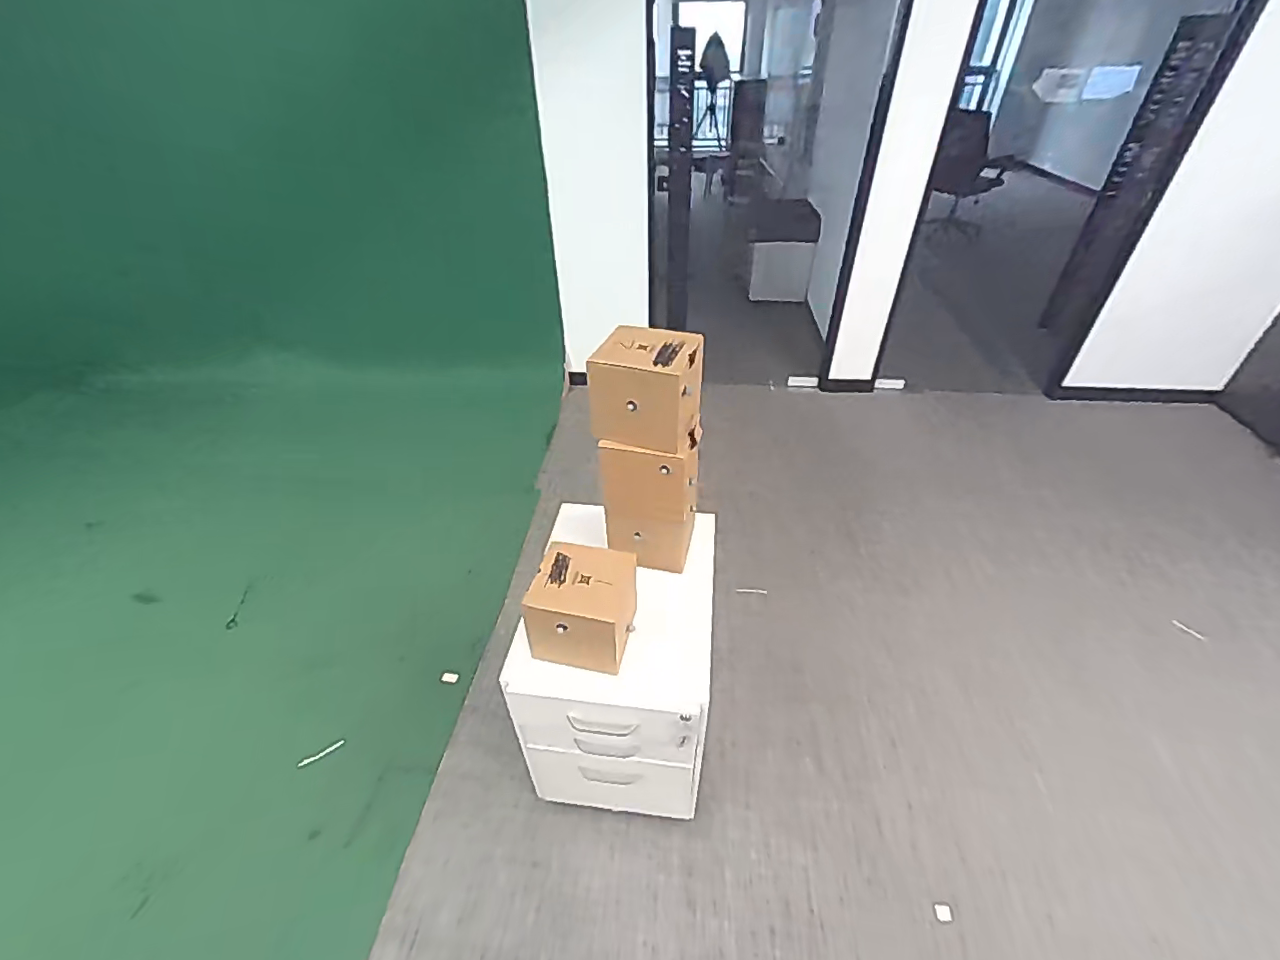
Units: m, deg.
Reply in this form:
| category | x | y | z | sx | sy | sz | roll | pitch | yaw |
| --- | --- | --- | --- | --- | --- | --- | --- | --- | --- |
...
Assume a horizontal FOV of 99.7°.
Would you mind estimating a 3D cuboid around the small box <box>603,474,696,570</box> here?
| category | x | y | z | sx | sy | sz | roll | pitch | yaw |
| --- | --- | --- | --- | --- | --- | --- | --- | --- | --- |
| small box | 0.026 | 0.086 | 1.237 | 0.179 | 0.176 | 0.168 | 9 | 41 | 12 |

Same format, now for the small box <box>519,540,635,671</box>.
| category | x | y | z | sx | sy | sz | roll | pitch | yaw |
| --- | --- | --- | --- | --- | --- | --- | --- | --- | --- |
| small box | -0.112 | 0.243 | 1.045 | 0.179 | 0.176 | 0.168 | 9 | 40 | 10 |

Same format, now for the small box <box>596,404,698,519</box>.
| category | x | y | z | sx | sy | sz | roll | pitch | yaw |
| --- | --- | --- | --- | --- | --- | --- | --- | --- | --- |
| small box | 0.019 | -0.038 | 1.132 | 0.179 | 0.176 | 0.168 | 8 | 40 | 11 |
